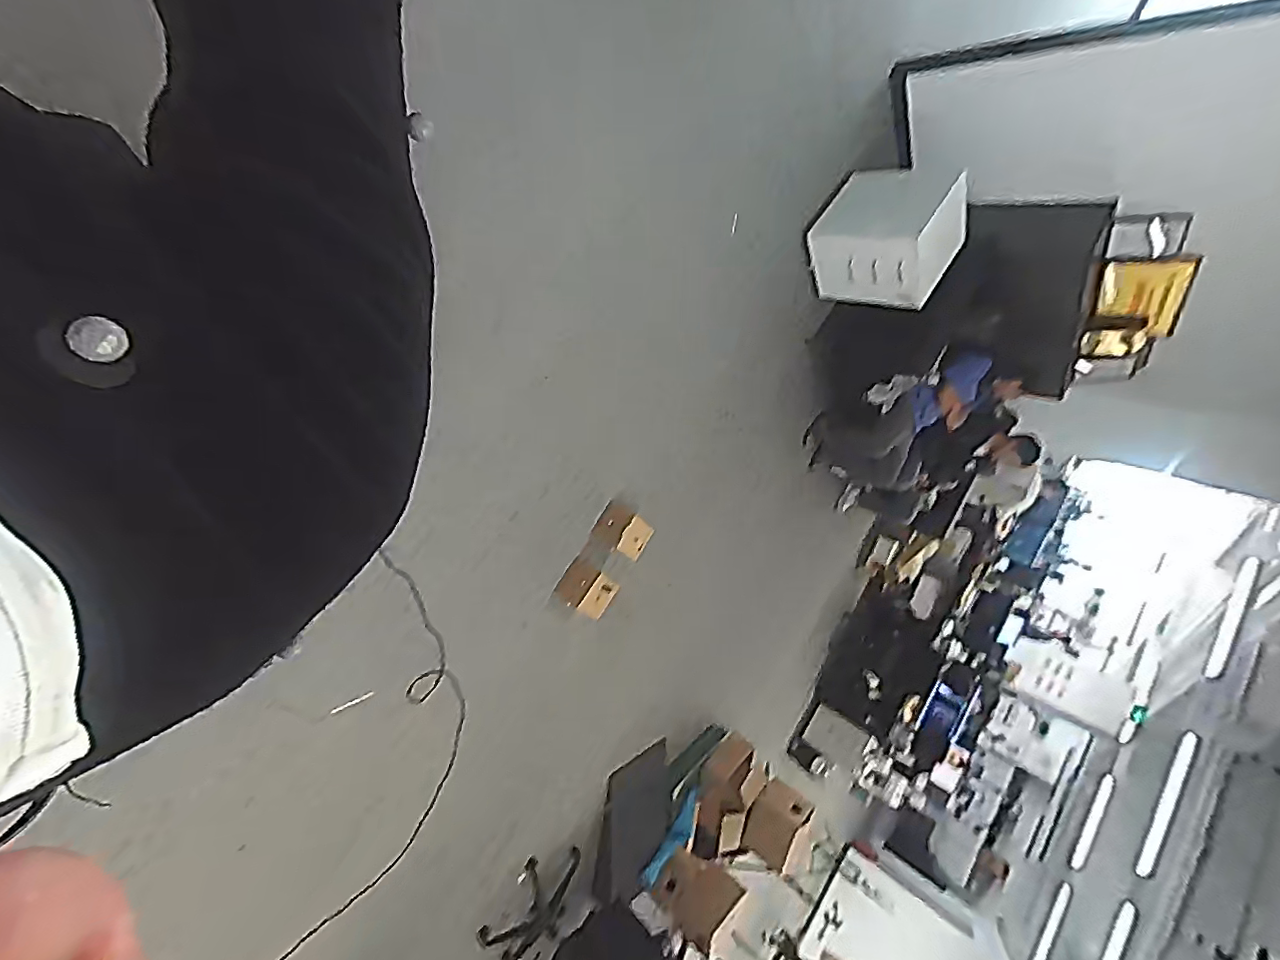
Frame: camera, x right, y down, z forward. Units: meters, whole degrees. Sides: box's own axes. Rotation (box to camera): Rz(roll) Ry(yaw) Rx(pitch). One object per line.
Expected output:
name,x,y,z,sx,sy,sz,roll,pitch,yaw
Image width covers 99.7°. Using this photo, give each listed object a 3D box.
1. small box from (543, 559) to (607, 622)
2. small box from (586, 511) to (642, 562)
small box,-0.280,0.468,2.315,0.179,0.176,0.168,-54,138,-17
small box,-0.118,0.240,2.381,0.168,0.176,0.179,-3,109,-50
